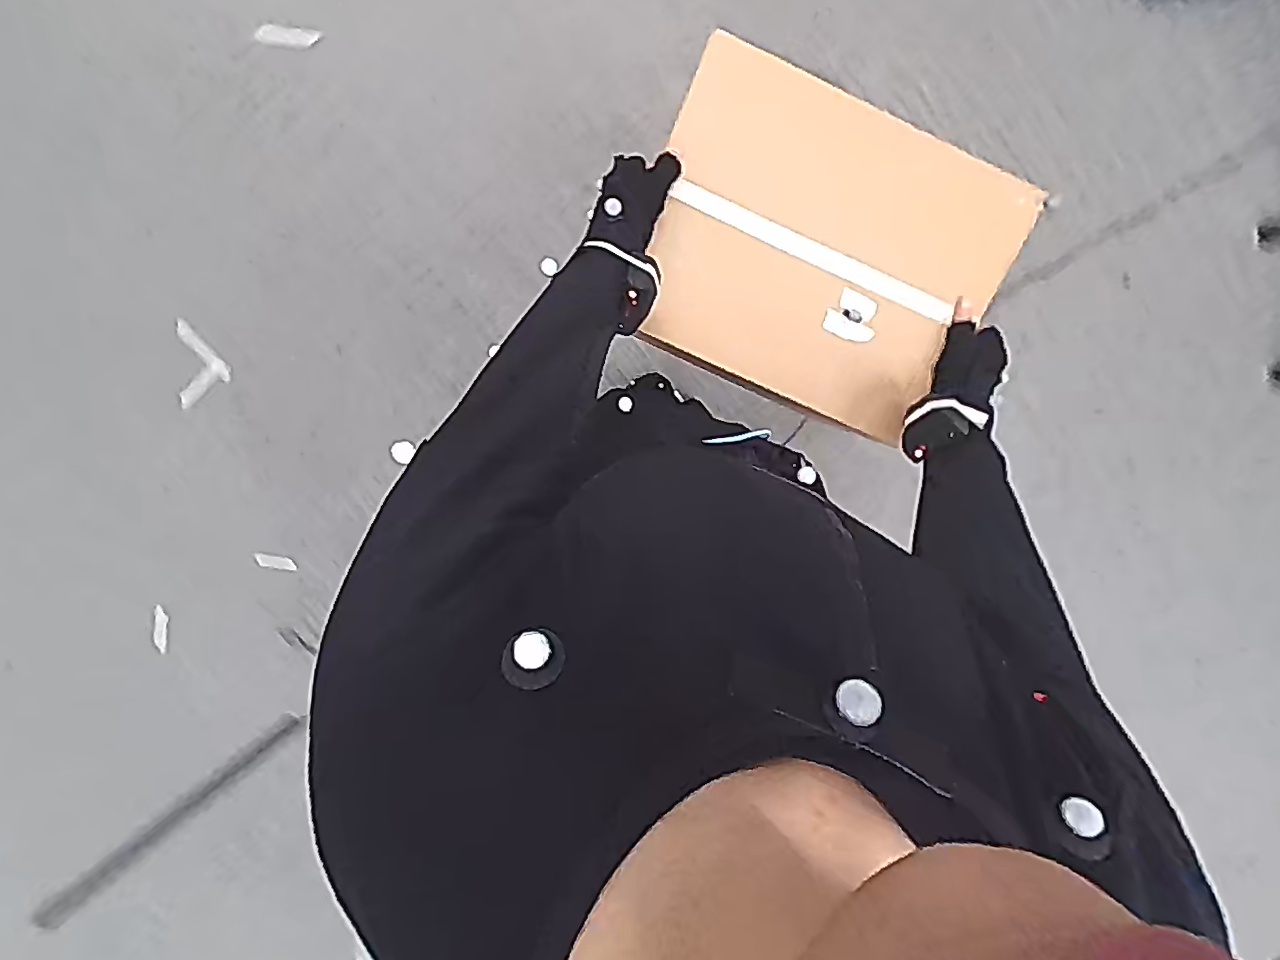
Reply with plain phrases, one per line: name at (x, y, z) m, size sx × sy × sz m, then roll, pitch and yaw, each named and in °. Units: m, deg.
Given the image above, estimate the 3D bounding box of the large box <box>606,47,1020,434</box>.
large box at (0.195, -0.296, 0.776) m, size 0.408 × 0.320 × 0.320 m, roll 22°, pitch 103°, yaw -5°
